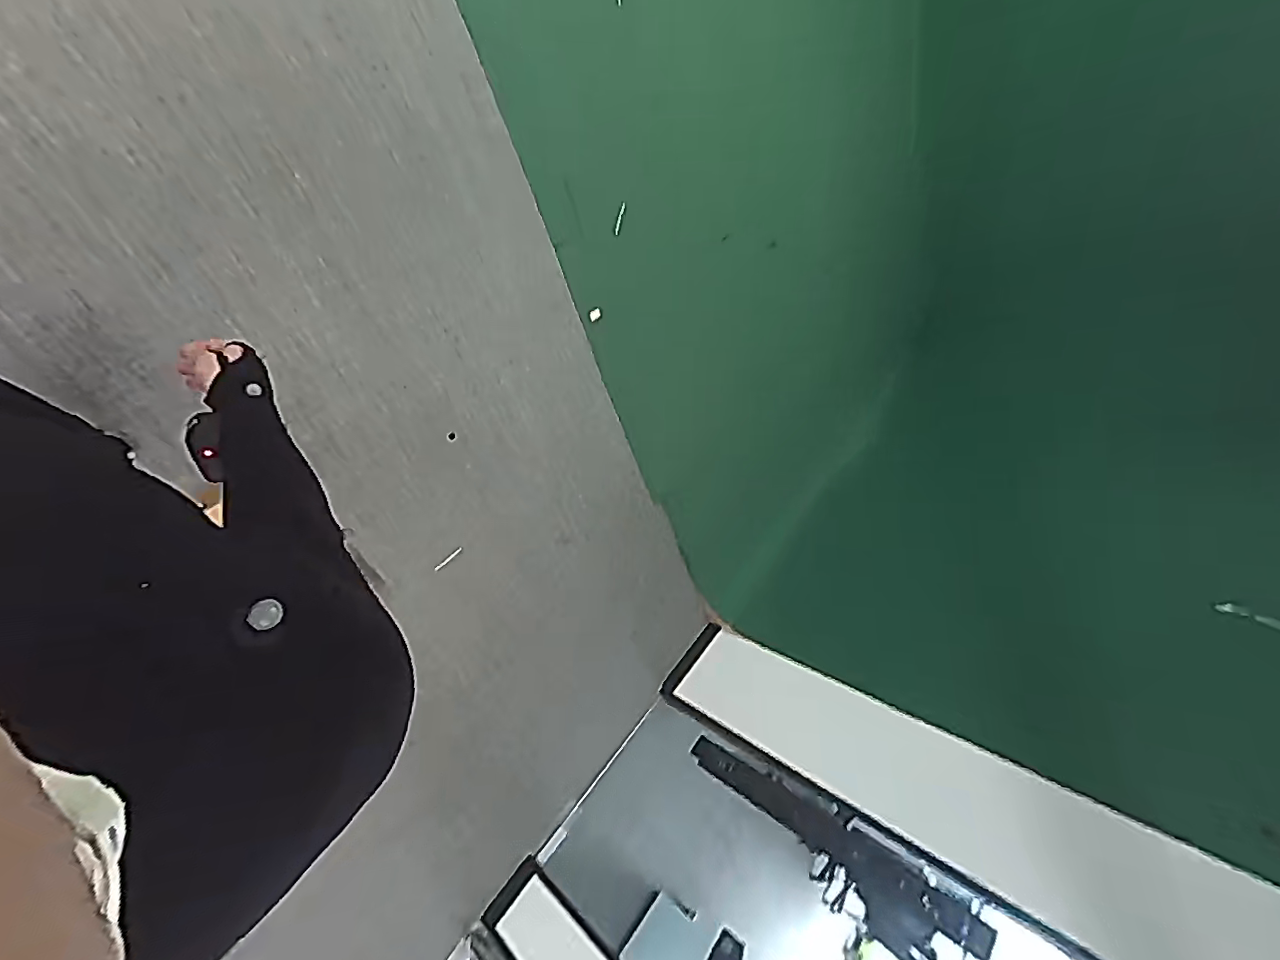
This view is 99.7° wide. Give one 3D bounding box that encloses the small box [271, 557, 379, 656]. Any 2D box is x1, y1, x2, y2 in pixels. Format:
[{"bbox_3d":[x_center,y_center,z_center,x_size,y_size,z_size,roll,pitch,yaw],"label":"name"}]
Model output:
[{"bbox_3d":[-0.868,0.339,1.487,0.179,0.176,0.168,-44,129,-29],"label":"small box"}]
